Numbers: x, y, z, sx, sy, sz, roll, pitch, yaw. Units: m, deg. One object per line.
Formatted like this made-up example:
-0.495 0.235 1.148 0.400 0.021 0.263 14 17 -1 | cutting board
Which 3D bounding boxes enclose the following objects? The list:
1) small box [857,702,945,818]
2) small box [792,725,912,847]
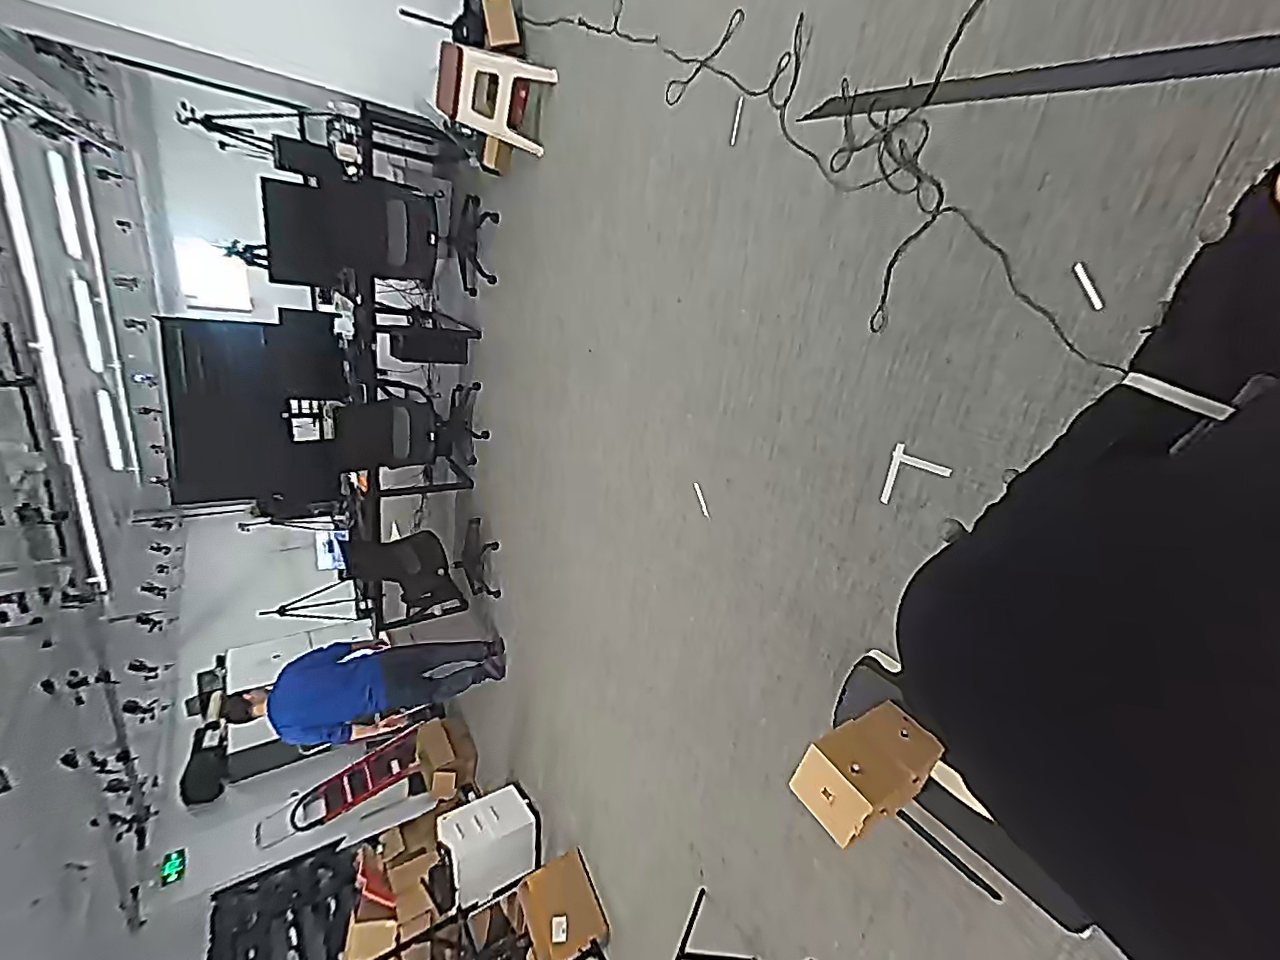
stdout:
0.644 0.706 1.384 0.168 0.176 0.179 38 126 45 | small box
0.506 0.718 1.297 0.179 0.176 0.168 41 126 42 | small box
